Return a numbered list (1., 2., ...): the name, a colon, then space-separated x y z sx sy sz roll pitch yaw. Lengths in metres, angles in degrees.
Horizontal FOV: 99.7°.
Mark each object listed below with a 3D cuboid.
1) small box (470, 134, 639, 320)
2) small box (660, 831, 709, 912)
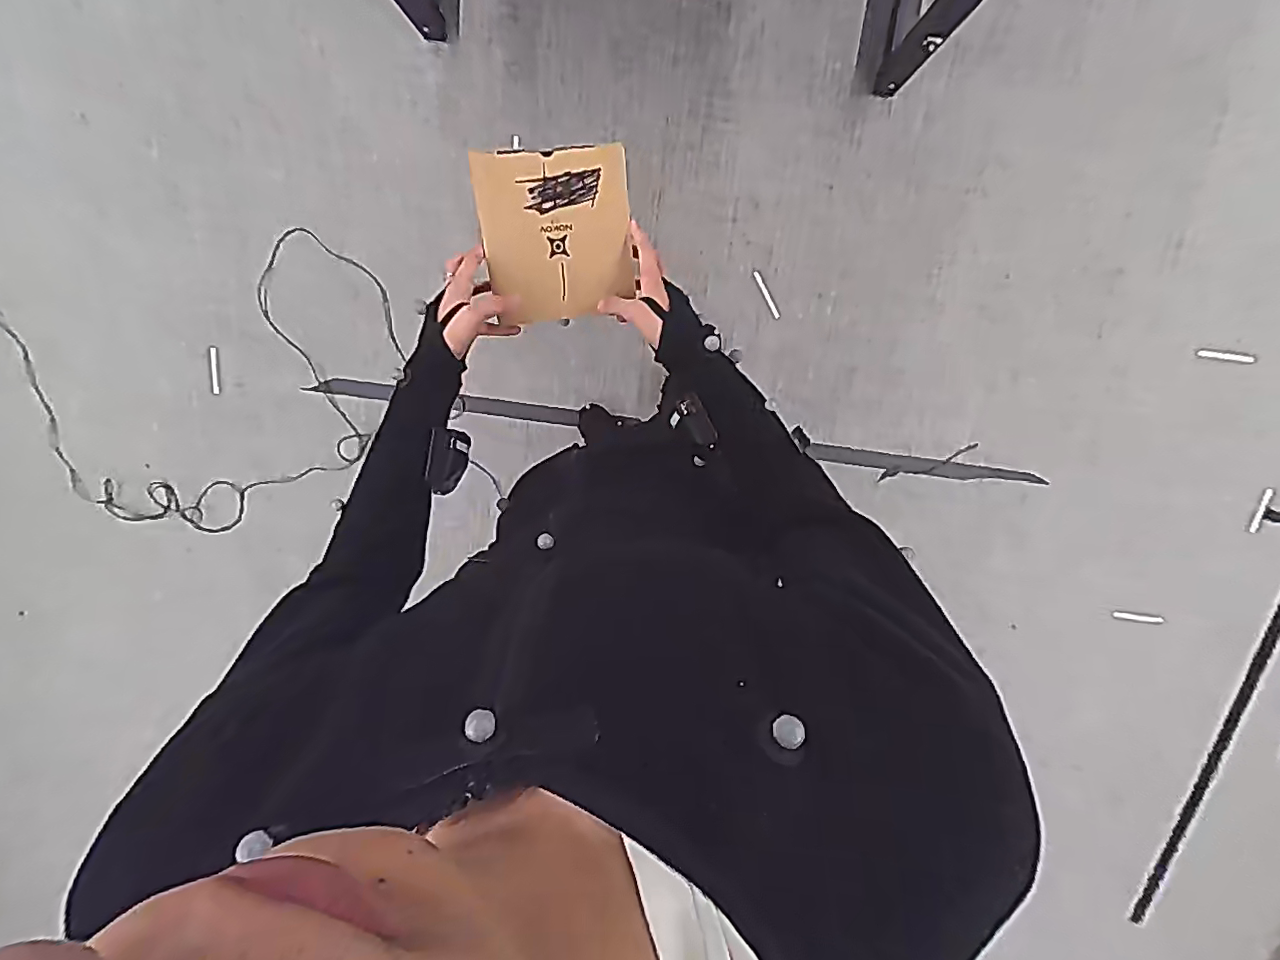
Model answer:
1. small box: -0.098 -0.298 0.659 0.168 0.176 0.179 -8 113 -5
2. small box: 0.159 1.396 1.930 0.168 0.176 0.179 -4 105 3
